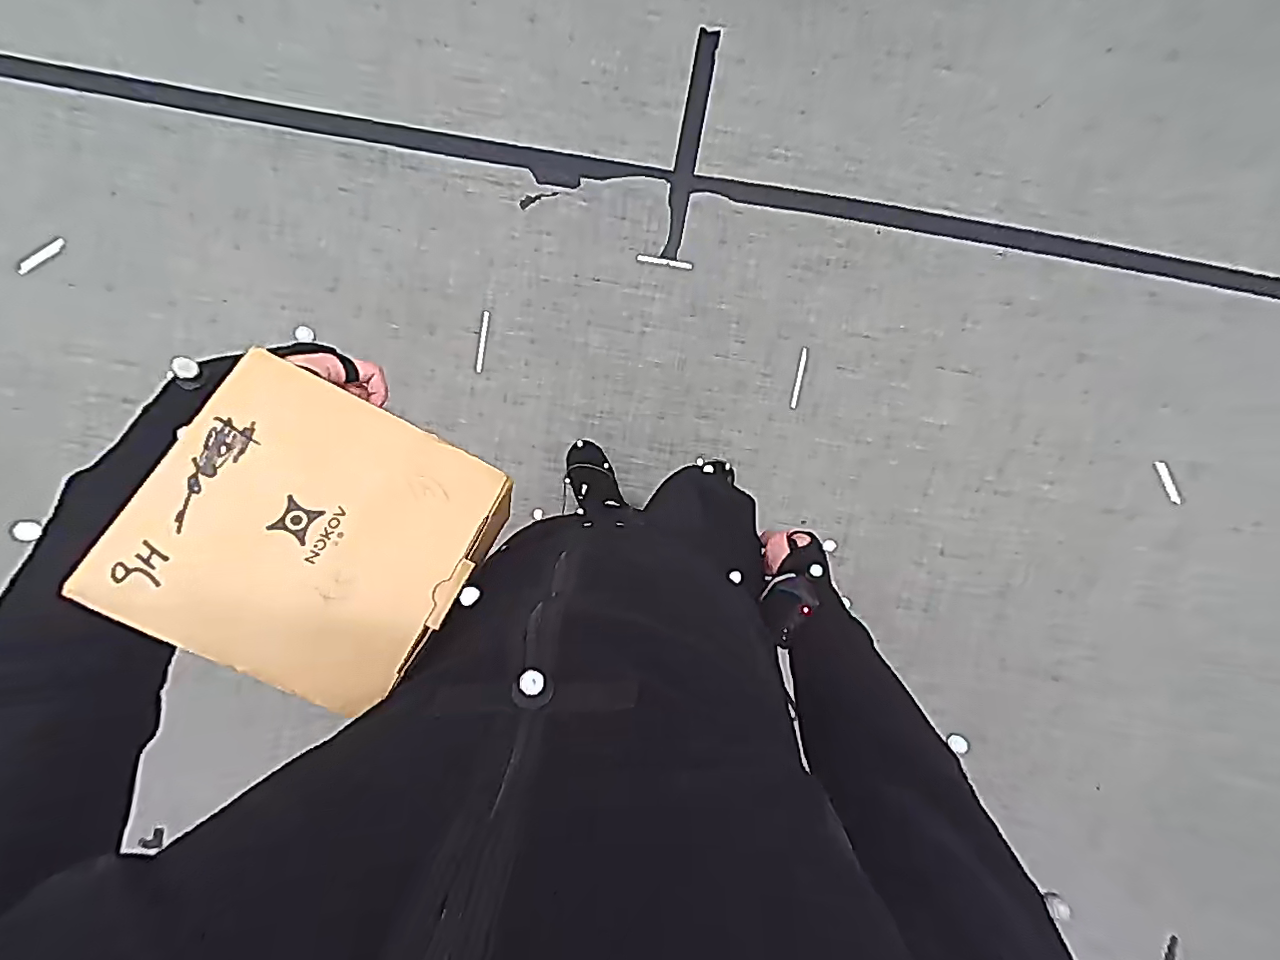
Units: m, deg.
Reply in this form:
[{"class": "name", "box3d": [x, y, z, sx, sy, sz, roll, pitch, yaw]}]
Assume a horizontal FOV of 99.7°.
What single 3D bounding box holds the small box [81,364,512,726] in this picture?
[{"class": "small box", "box3d": [-0.212, 0.050, 0.400, 0.179, 0.176, 0.168, 28, 73, -8]}]
